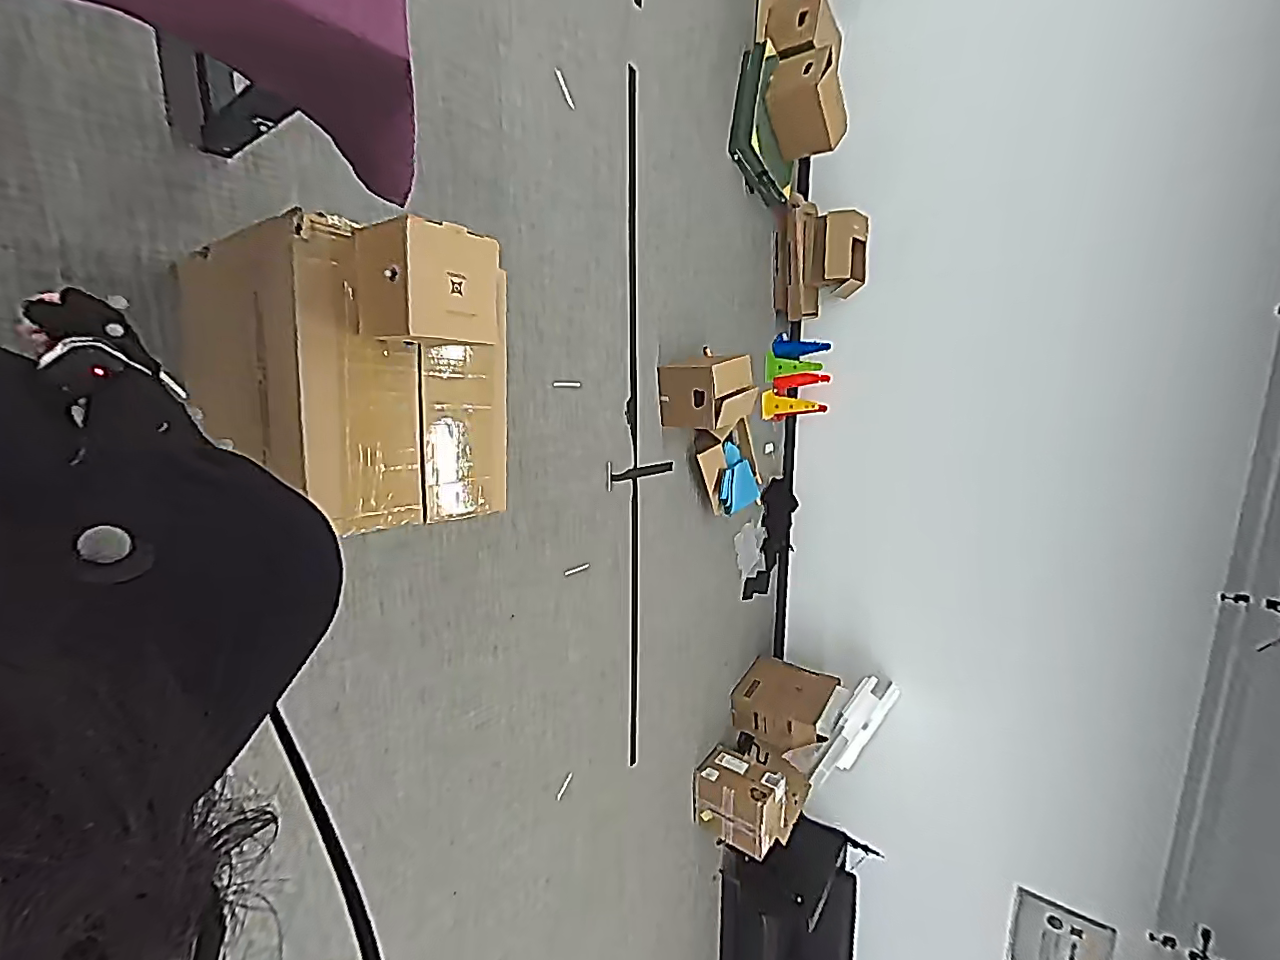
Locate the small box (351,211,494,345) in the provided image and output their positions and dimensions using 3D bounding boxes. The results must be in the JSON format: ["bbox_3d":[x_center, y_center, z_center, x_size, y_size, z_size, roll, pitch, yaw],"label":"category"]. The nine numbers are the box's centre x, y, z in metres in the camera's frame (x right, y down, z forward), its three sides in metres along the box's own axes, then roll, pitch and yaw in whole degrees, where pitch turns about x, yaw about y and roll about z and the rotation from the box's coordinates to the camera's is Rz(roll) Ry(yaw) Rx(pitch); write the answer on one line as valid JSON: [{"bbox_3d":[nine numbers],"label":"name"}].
[{"bbox_3d":[-0.364,-0.324,0.905,0.168,0.176,0.179,-10,106,-51],"label":"small box"}]
